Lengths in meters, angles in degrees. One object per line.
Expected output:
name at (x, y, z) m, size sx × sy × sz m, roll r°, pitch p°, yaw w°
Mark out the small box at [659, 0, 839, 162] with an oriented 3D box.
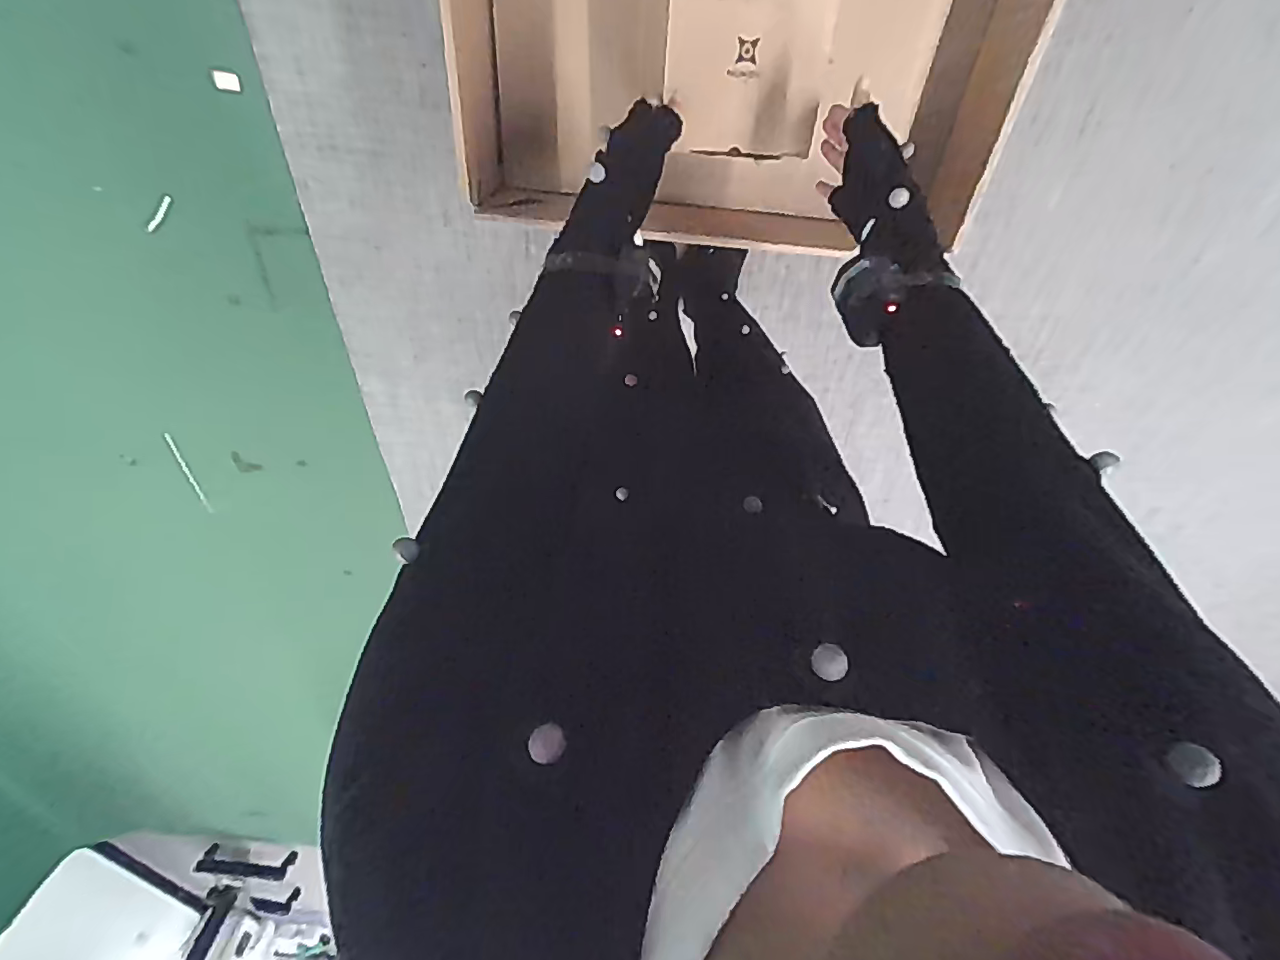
small box at (0.111, -0.475, 0.610) m, size 0.168 × 0.176 × 0.179 m, roll 3°, pitch 127°, yaw 1°
